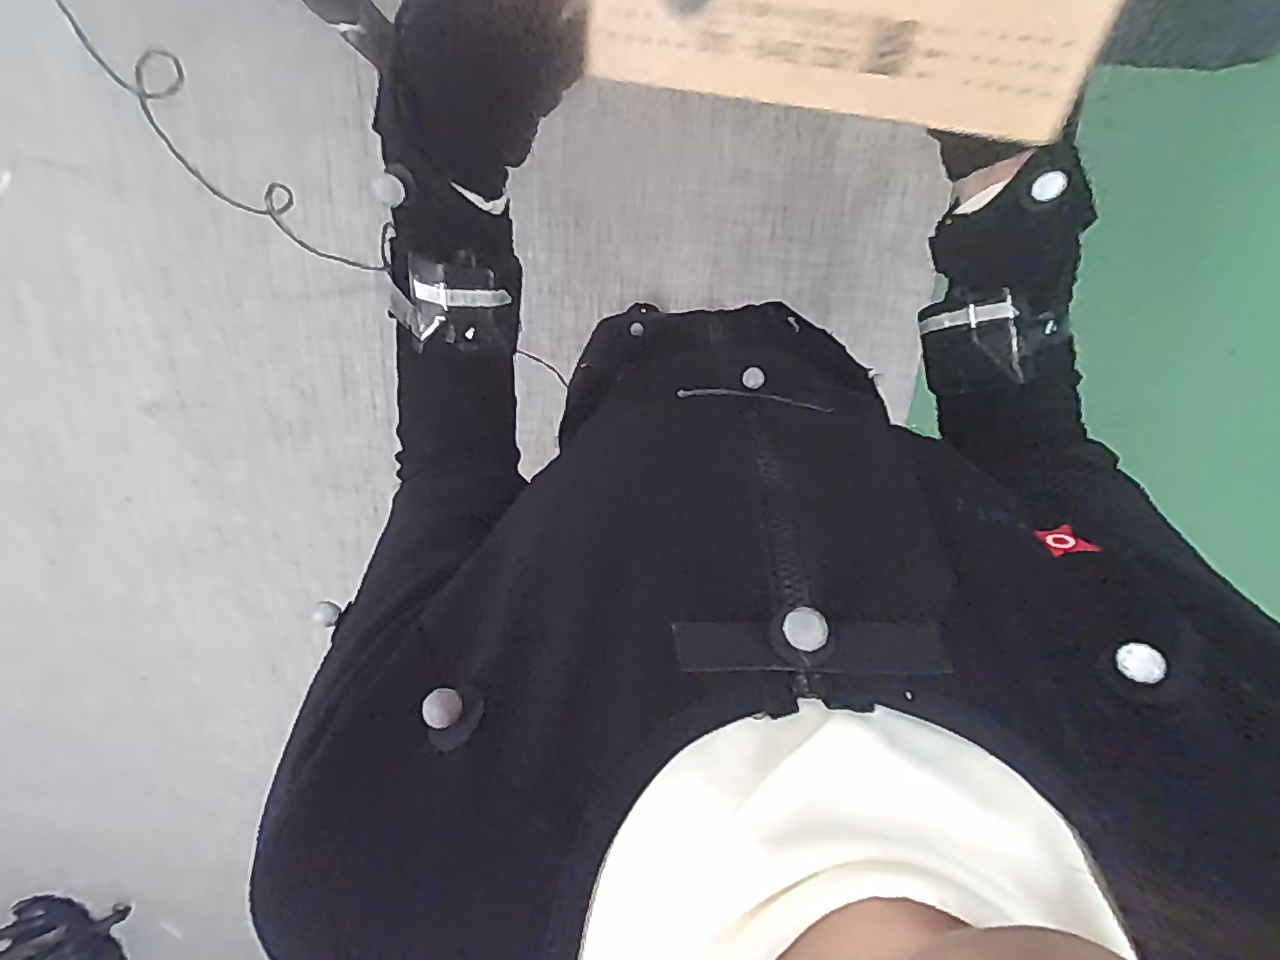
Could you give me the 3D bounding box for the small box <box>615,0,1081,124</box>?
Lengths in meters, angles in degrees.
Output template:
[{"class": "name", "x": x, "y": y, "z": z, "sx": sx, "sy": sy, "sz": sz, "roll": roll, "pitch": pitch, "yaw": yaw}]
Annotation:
[{"class": "small box", "x": 0.088, "y": -0.255, "z": 0.219, "sx": 0.168, "sy": 0.179, "sz": 0.176, "roll": 12, "pitch": 126, "yaw": 4}]
